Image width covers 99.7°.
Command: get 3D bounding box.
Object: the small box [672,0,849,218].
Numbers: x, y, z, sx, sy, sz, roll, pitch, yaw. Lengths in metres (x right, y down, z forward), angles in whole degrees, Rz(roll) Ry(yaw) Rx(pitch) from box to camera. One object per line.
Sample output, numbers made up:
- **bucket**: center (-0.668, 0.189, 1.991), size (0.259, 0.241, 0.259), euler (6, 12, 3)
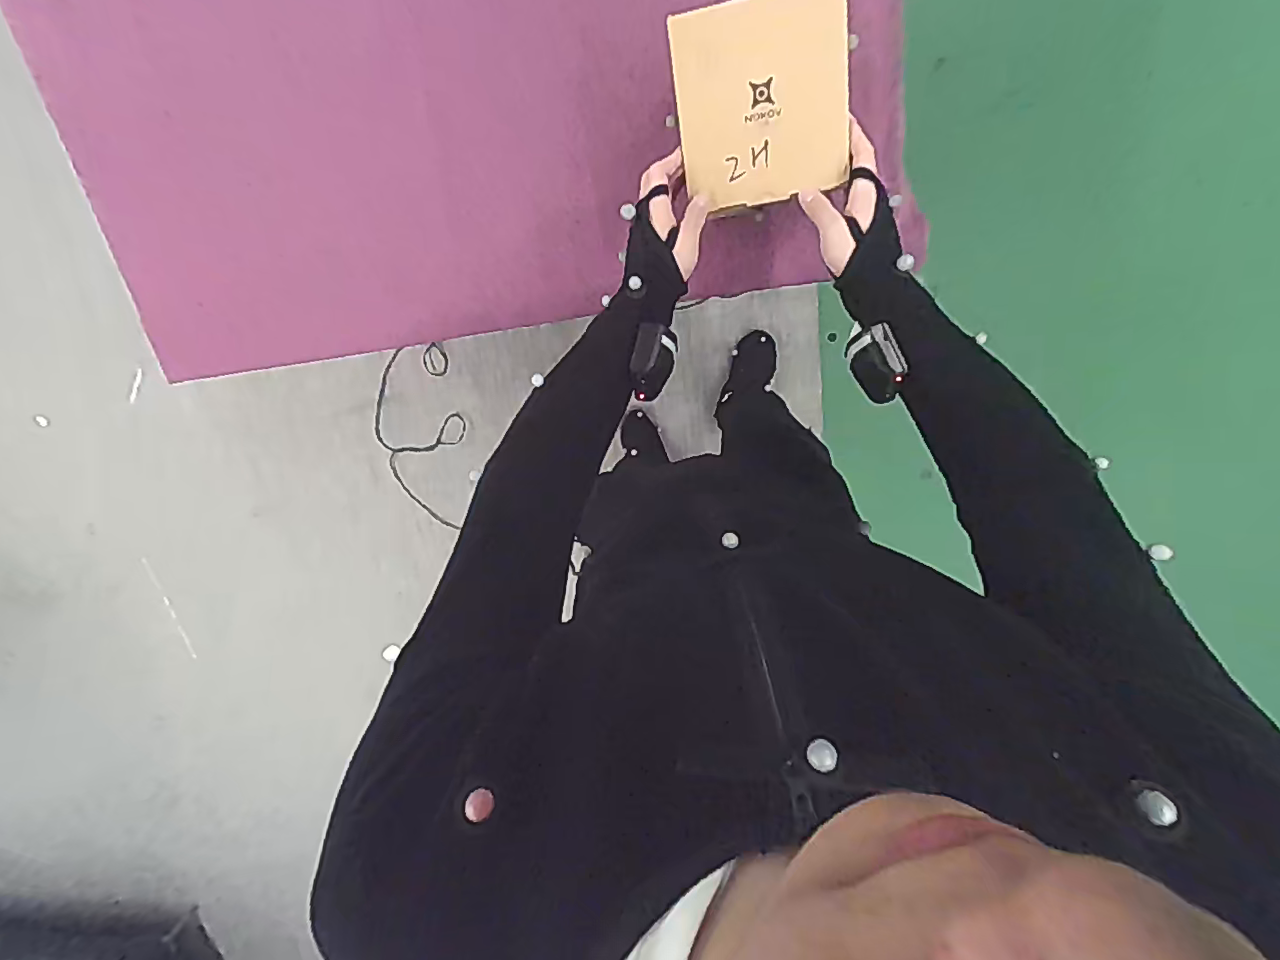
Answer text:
- **small box**: center (0.131, -0.404, 0.604), size (0.168, 0.176, 0.179), euler (-5, 113, 11)
